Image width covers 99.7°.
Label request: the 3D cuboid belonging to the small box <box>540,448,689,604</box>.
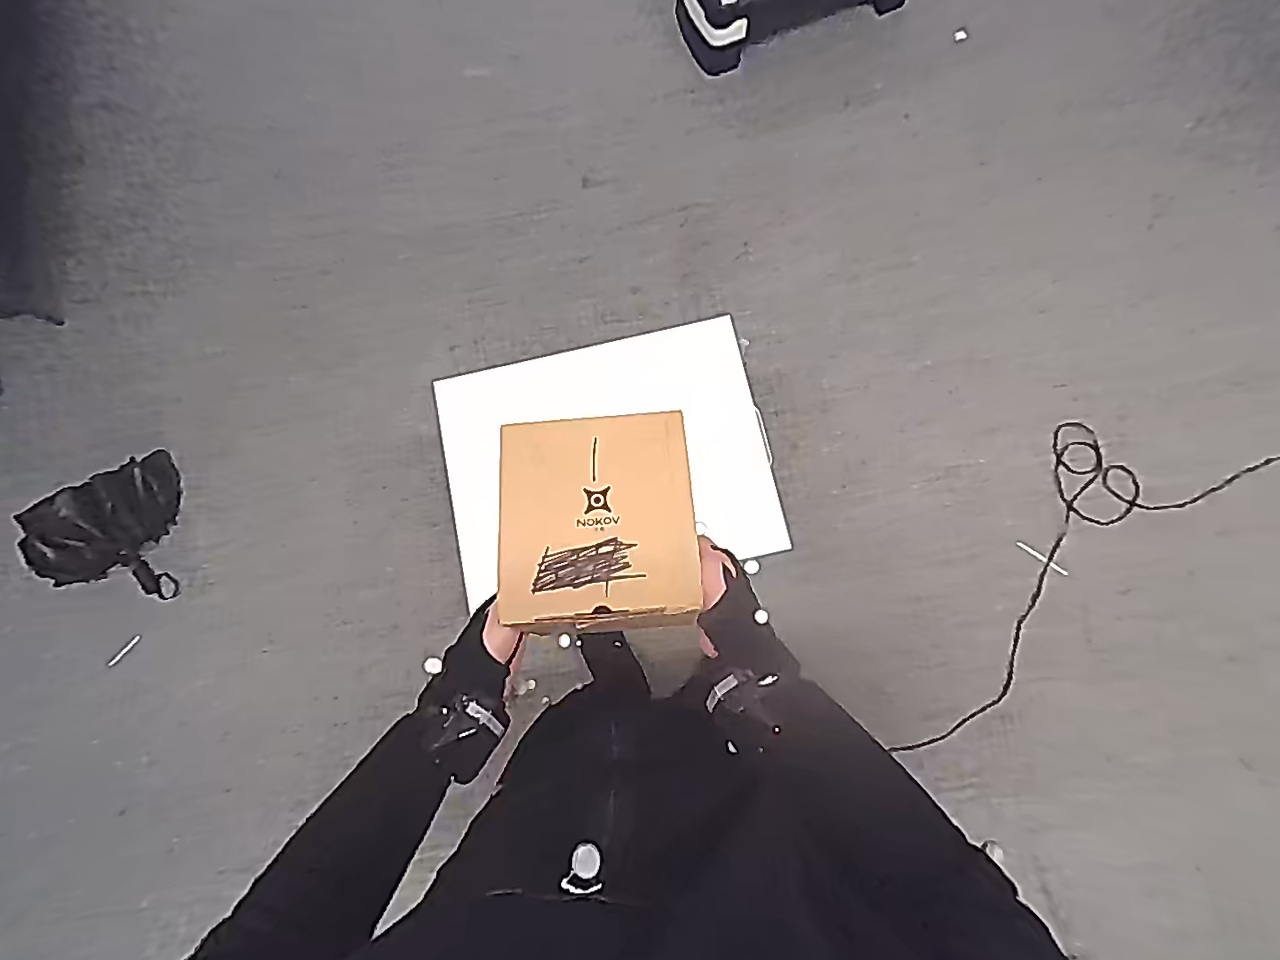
[{"bbox_3d":[-0.033,0.073,0.766,0.168,0.176,0.179,-13,78,0],"label":"small box"}]
